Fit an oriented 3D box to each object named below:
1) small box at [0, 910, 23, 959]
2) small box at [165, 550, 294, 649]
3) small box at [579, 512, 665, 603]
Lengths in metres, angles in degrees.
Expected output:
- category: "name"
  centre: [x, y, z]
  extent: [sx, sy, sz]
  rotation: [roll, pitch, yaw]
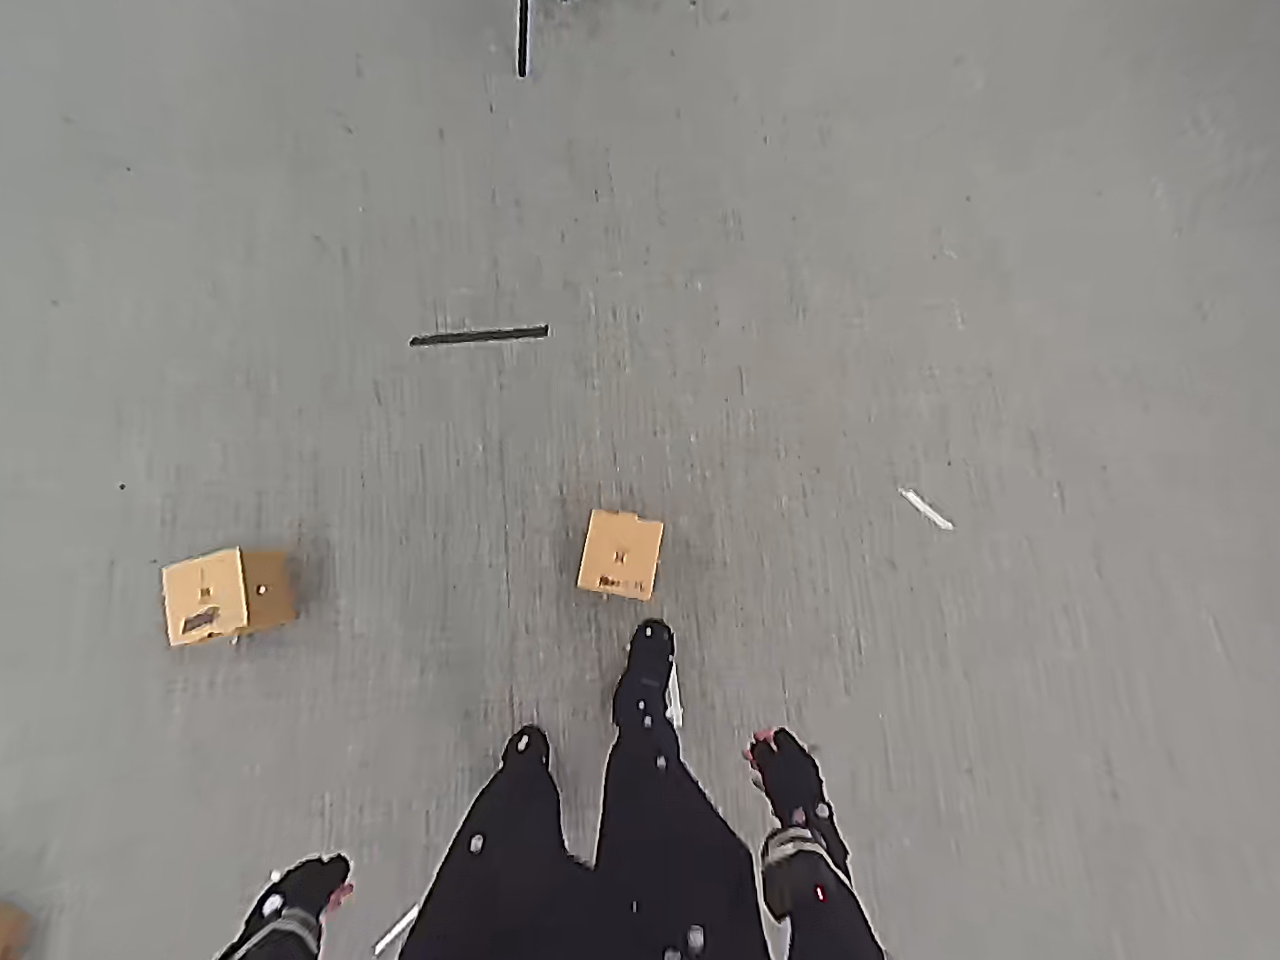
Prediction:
- category: "small box"
  centre: [-1.427, 0.986, 1.076]
  extent: [0.179, 0.176, 0.168]
  rotation: [12, 80, -1]
- category: "small box"
  centre: [-0.923, 0.267, 1.231]
  extent: [0.168, 0.176, 0.179]
  rotation: [-15, 79, -4]
- category: "small box"
  centre: [-0.043, 0.187, 1.274]
  extent: [0.168, 0.176, 0.179]
  rotation: [11, 79, 0]
